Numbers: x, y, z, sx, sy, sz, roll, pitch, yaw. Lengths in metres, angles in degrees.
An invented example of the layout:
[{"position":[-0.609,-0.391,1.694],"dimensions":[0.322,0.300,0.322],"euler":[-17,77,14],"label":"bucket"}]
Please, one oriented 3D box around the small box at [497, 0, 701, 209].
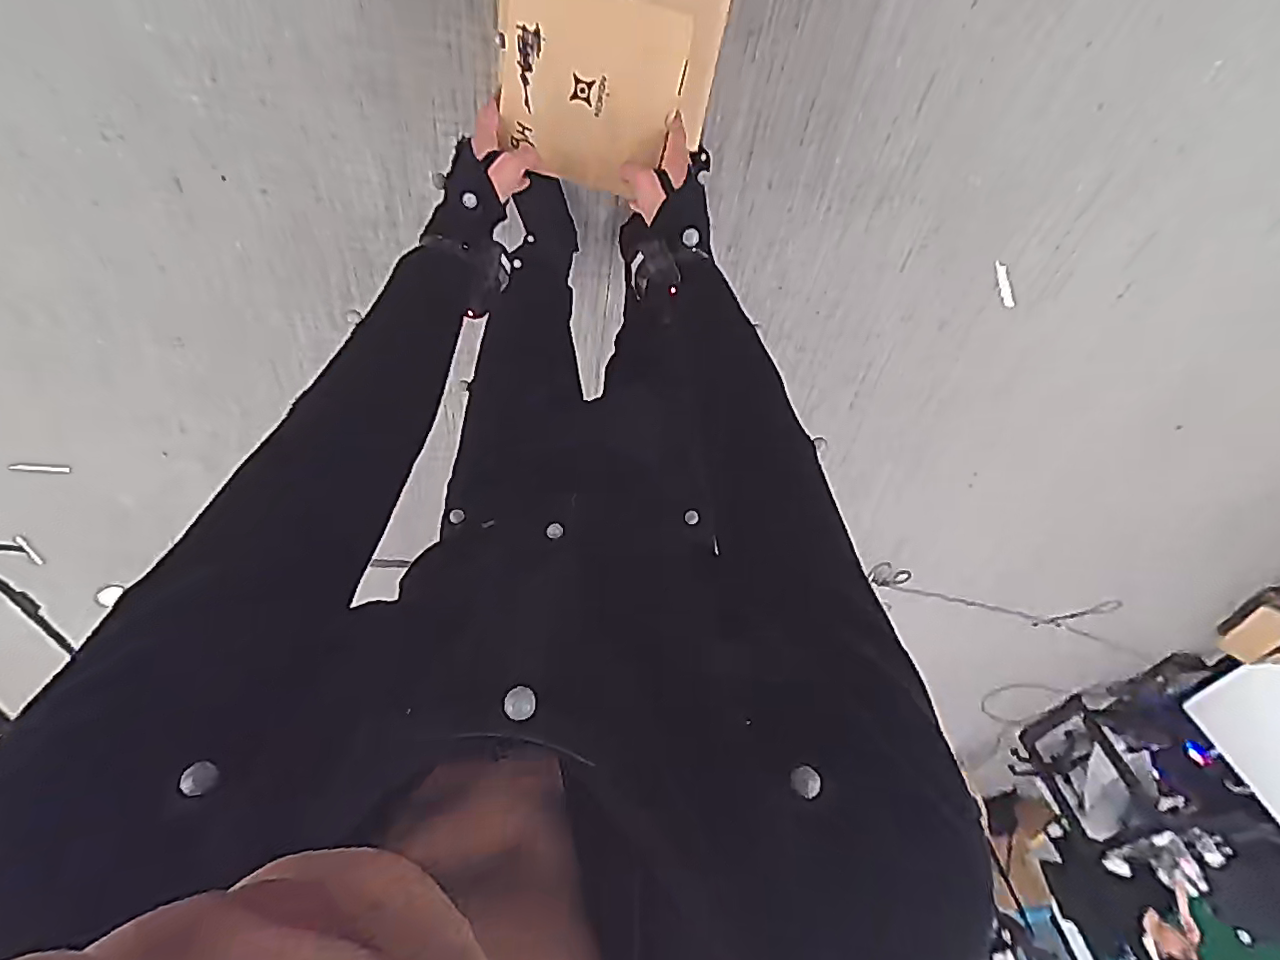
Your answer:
[{"position":[-0.050,-0.428,0.598],"dimensions":[0.179,0.176,0.168],"euler":[10,128,-12],"label":"small box"}]
